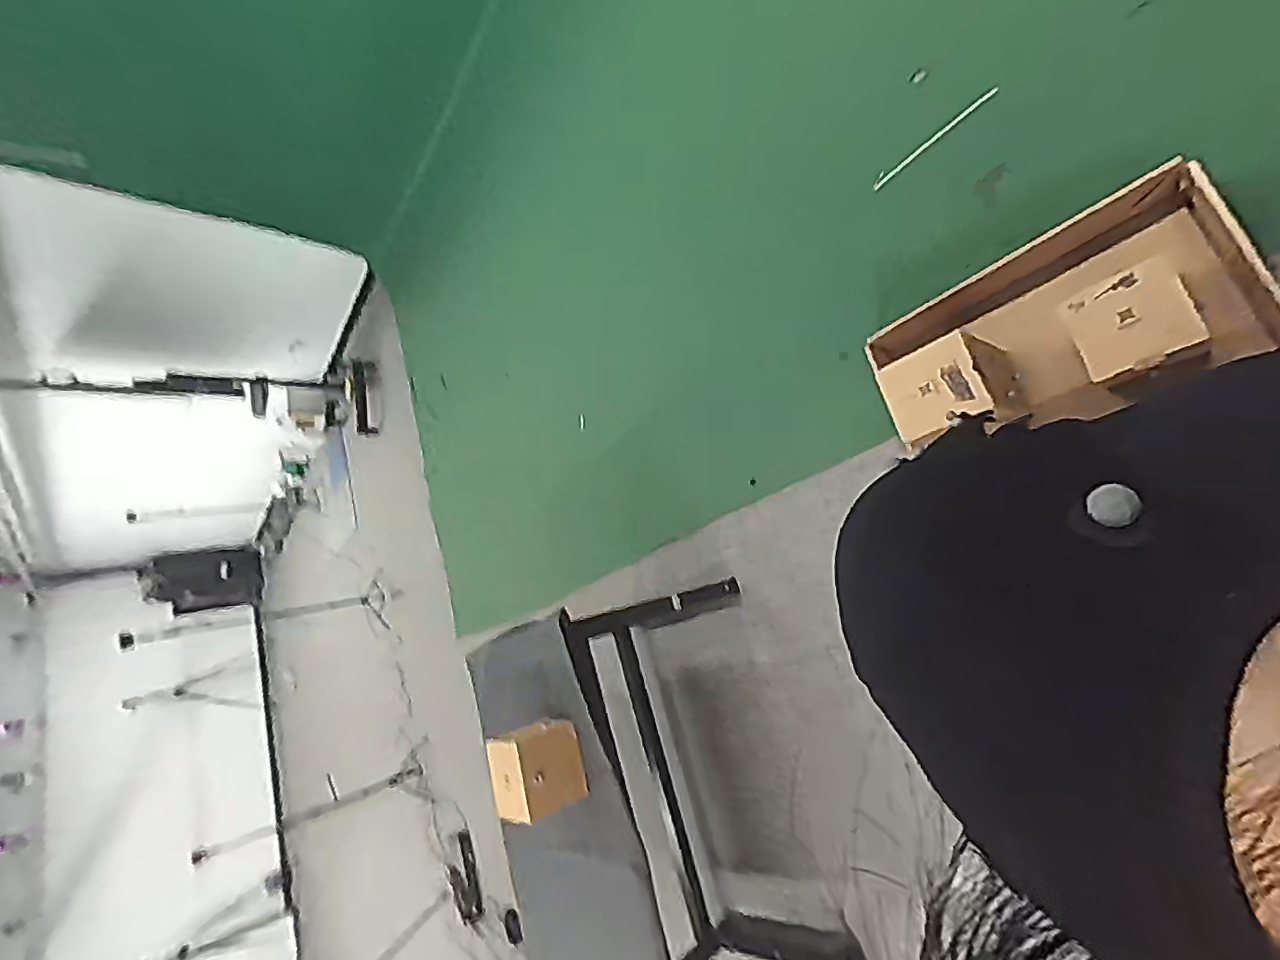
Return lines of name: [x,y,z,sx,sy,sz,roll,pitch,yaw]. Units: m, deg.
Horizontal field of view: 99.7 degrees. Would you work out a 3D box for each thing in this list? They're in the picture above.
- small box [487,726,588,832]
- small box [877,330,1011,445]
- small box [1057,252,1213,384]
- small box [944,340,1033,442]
small box: [-0.247,0.716,1.315,0.168,0.176,0.179,-28,71,44]
small box: [0.626,-0.181,1.104,0.179,0.176,0.168,-29,71,43]
small box: [0.934,-0.293,1.019,0.168,0.176,0.179,-28,73,44]
small box: [0.743,-0.190,1.219,0.179,0.176,0.168,-30,71,42]
